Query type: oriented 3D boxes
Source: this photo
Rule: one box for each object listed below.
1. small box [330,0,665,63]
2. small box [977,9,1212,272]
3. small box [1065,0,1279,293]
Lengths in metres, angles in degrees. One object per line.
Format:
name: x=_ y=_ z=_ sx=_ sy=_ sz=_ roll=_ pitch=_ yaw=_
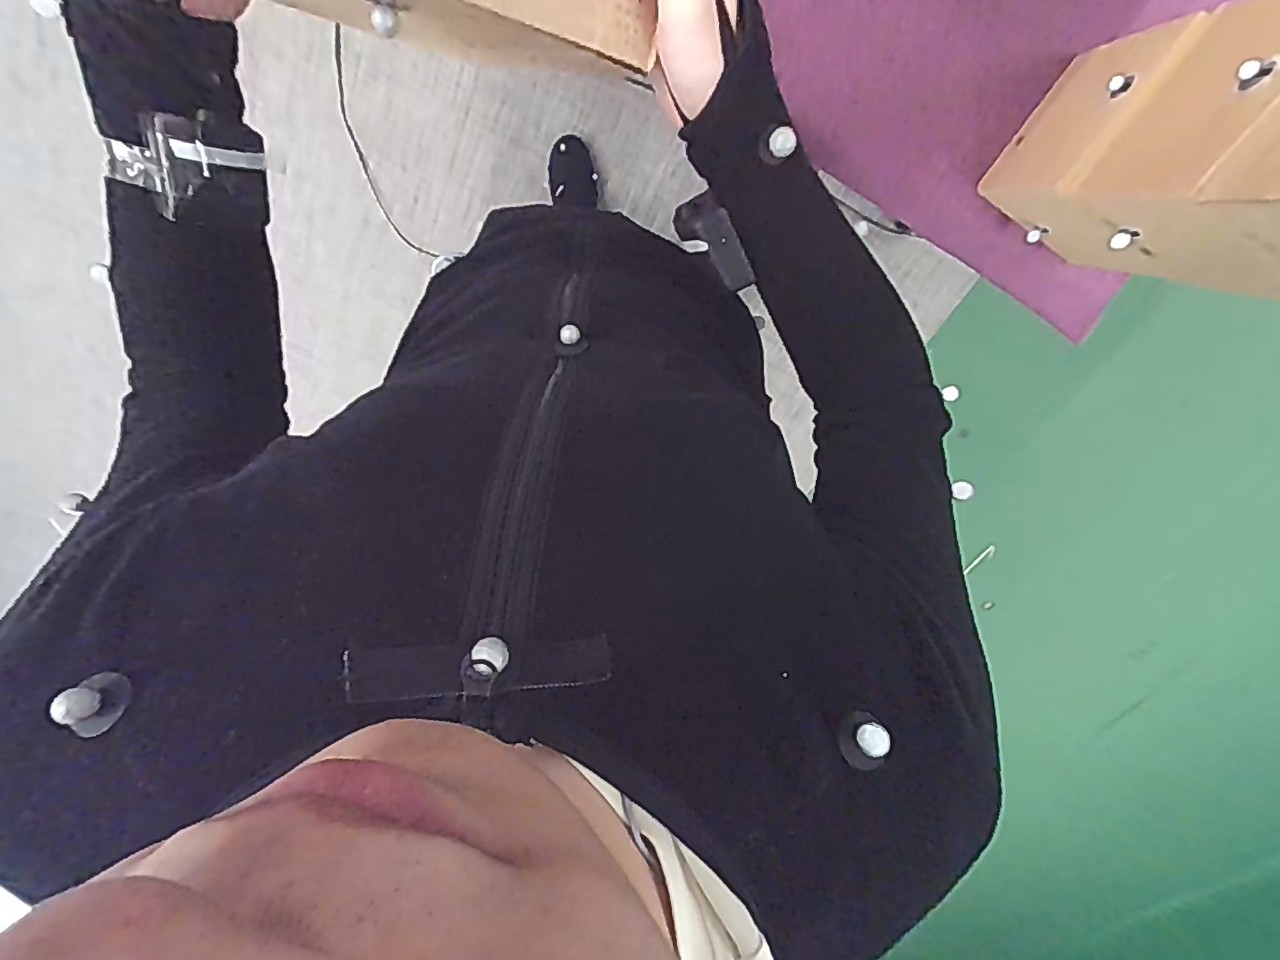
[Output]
small box: x=-0.092 y=-0.322 z=0.257 sx=0.179 sy=0.176 sz=0.168 roll=30 pitch=124 yaw=32
small box: x=0.536 y=-0.365 z=0.607 sx=0.179 sy=0.176 sz=0.168 roll=28 pitch=116 yaw=-12
small box: x=0.532 y=-0.288 z=0.462 sx=0.168 sy=0.176 sz=0.179 roll=29 pitch=116 yaw=-10
